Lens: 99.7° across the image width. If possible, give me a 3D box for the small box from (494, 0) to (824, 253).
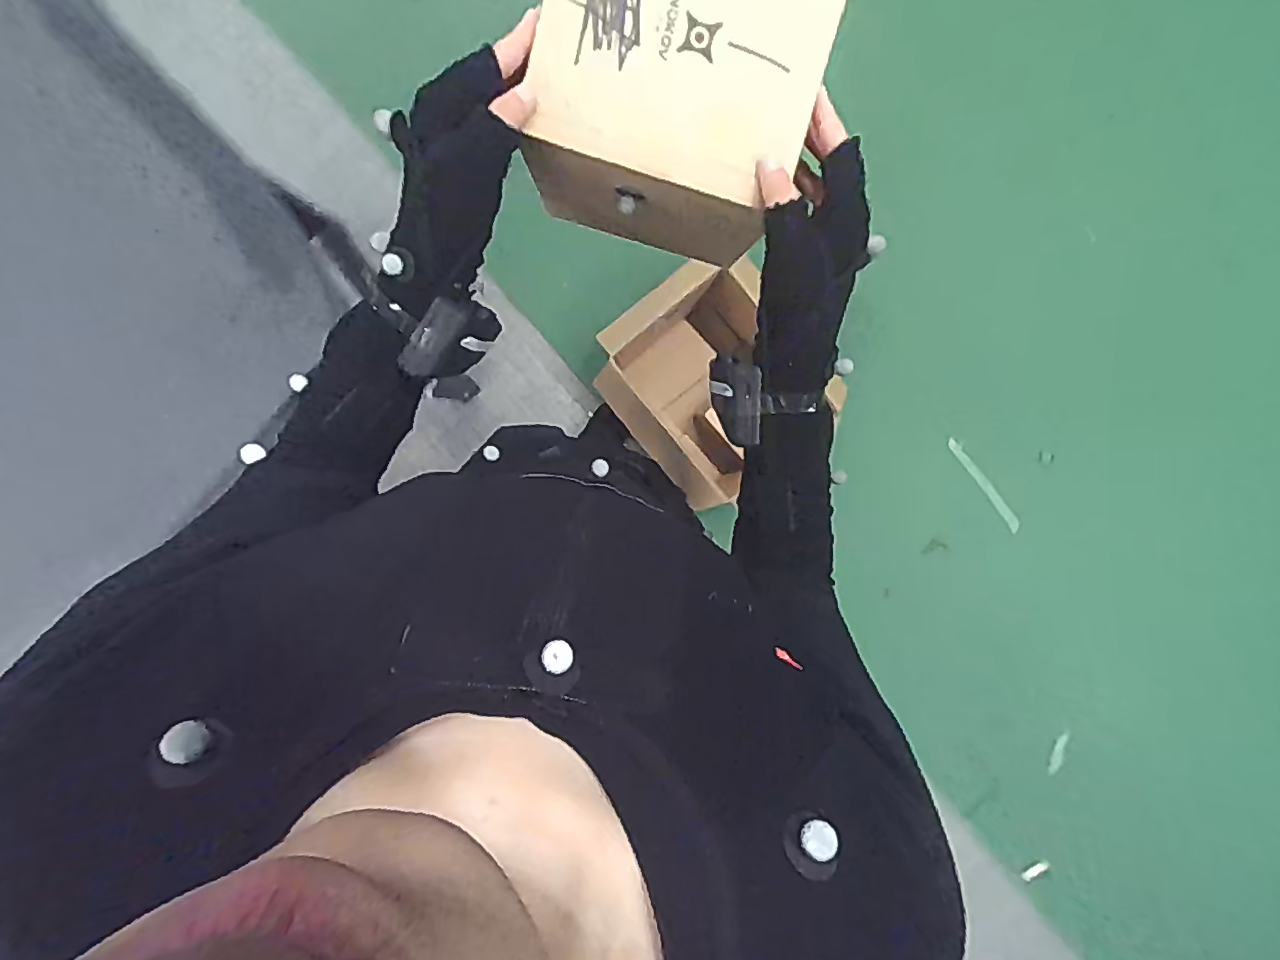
[{"bbox_3d":[0.012,-0.282,0.393,0.179,0.176,0.168,13,100,-6],"label":"small box"}]
